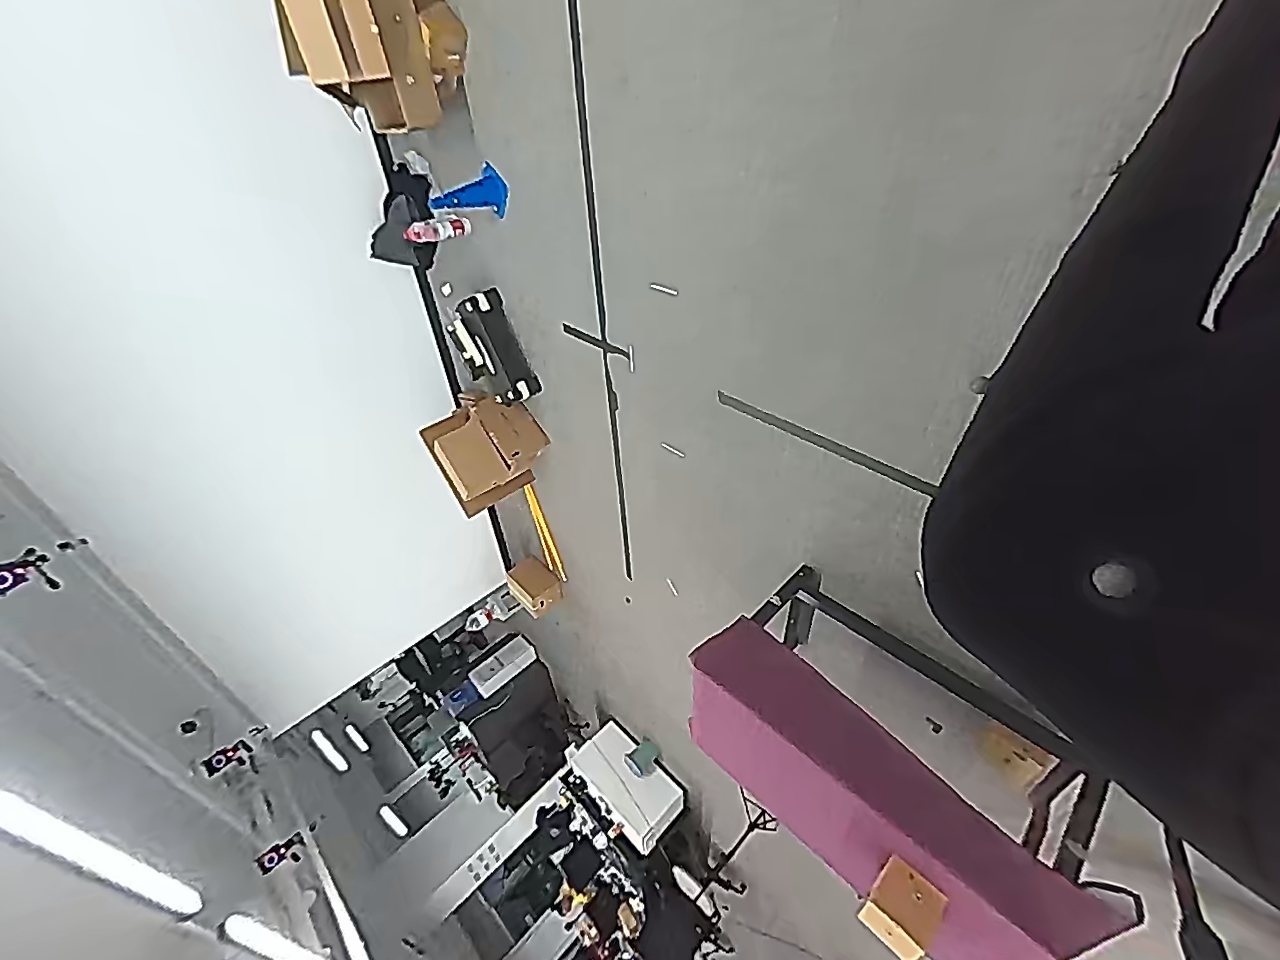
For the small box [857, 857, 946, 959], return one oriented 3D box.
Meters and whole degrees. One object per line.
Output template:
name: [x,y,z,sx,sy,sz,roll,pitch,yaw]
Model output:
small box: [0.782,1.282,1.614,0.168,0.176,0.179,31,140,35]
